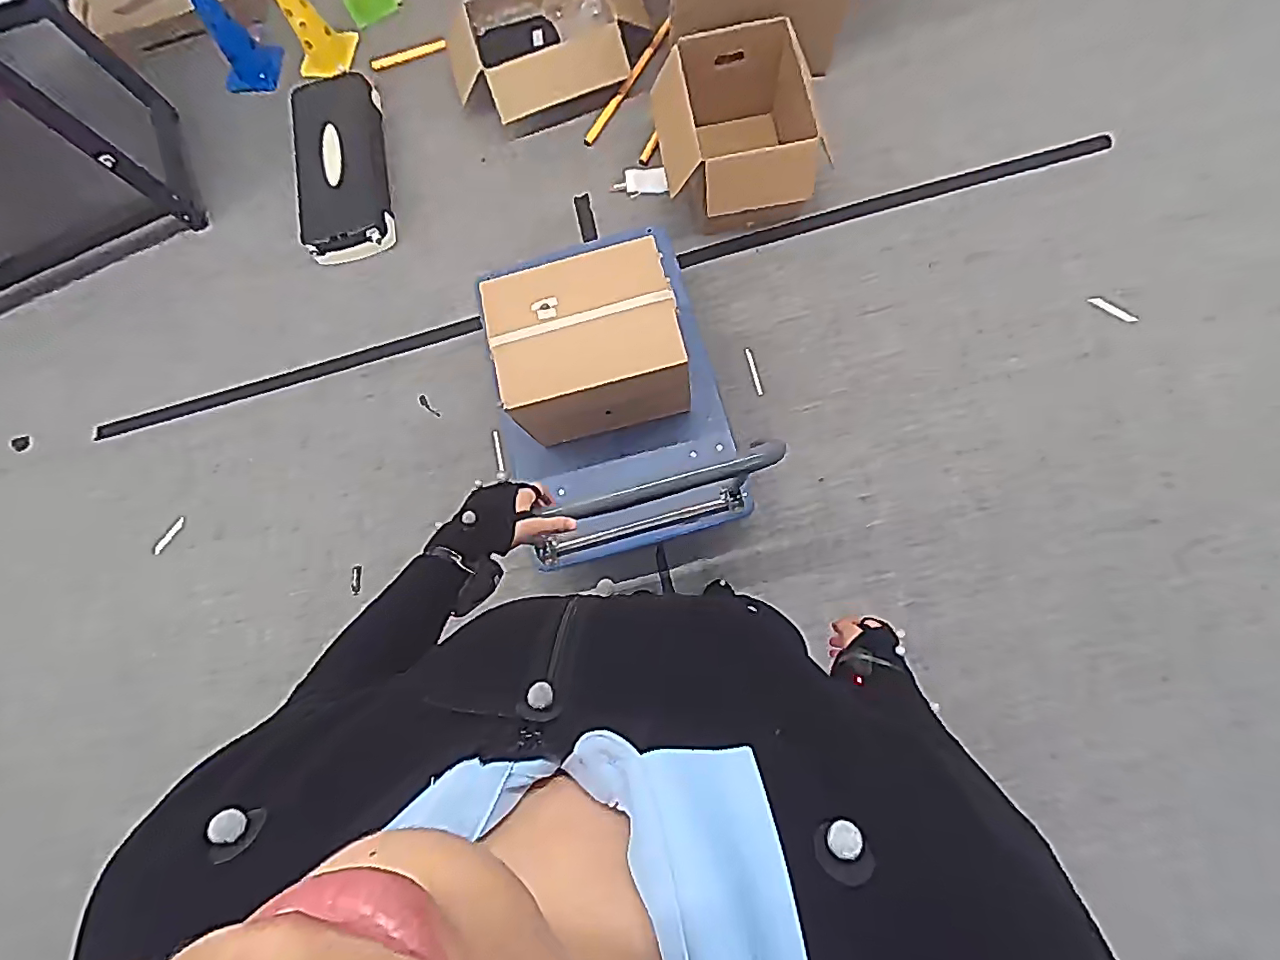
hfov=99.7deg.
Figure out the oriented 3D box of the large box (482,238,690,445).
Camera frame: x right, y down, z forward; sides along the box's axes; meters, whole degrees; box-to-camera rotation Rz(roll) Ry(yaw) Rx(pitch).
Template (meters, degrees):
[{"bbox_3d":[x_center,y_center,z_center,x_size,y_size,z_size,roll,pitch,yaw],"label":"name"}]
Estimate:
[{"bbox_3d":[-0.113,-0.312,1.317,0.408,0.320,0.320,-15,76,4],"label":"large box"}]
